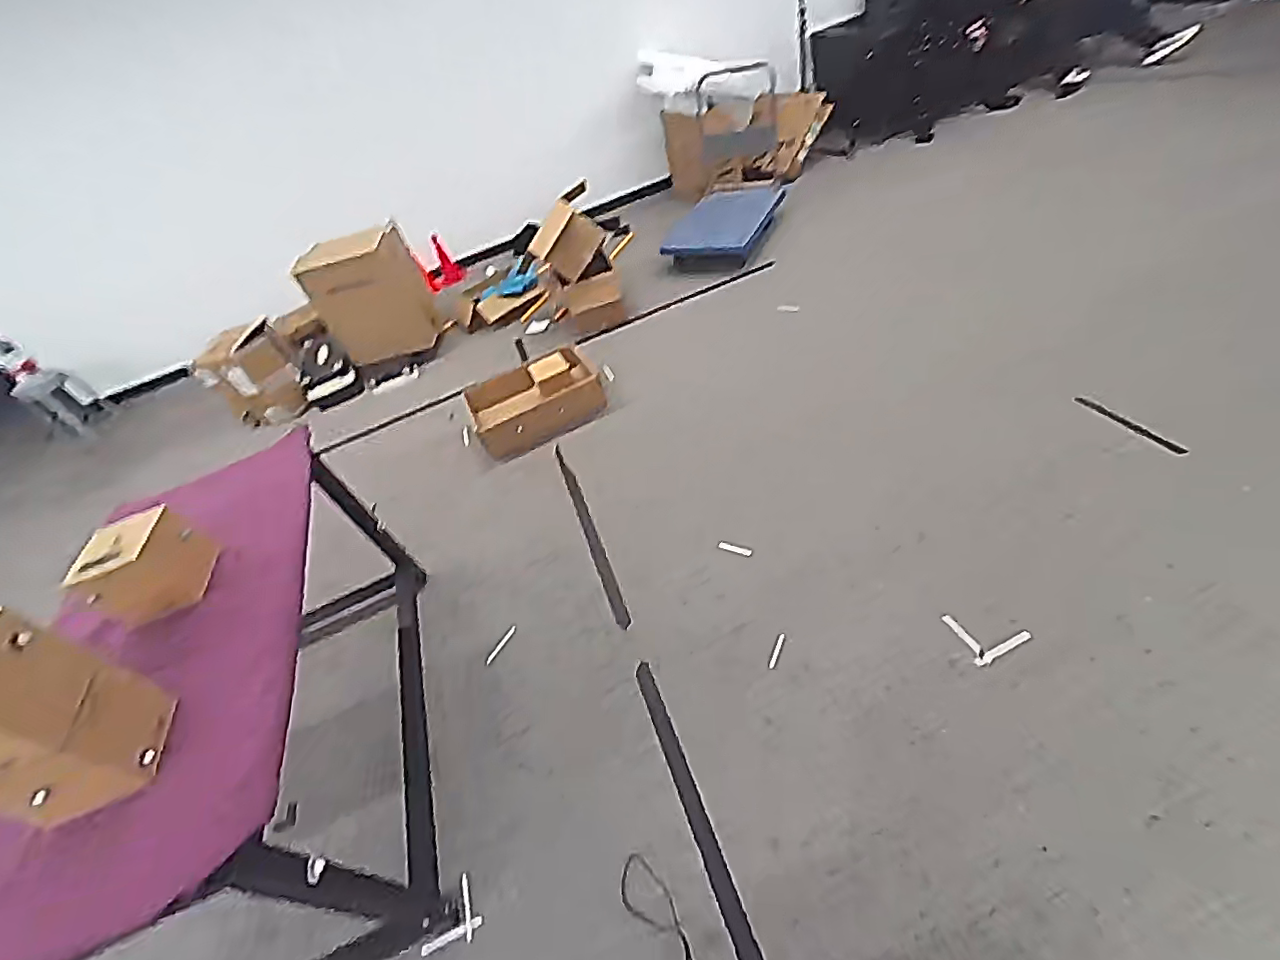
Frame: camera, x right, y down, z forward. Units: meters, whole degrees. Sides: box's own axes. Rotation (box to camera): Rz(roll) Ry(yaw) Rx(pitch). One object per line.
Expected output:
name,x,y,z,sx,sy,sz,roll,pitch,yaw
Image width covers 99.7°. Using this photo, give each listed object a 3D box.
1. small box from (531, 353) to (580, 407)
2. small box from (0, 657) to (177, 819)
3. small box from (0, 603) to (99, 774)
small box,-0.417,-0.491,2.665,0.168,0.176,0.179,-27,44,-8
small box,-0.955,0.440,0.922,0.179,0.176,0.168,-24,43,-5
small box,-0.984,0.324,0.808,0.168,0.176,0.179,-24,43,-6
